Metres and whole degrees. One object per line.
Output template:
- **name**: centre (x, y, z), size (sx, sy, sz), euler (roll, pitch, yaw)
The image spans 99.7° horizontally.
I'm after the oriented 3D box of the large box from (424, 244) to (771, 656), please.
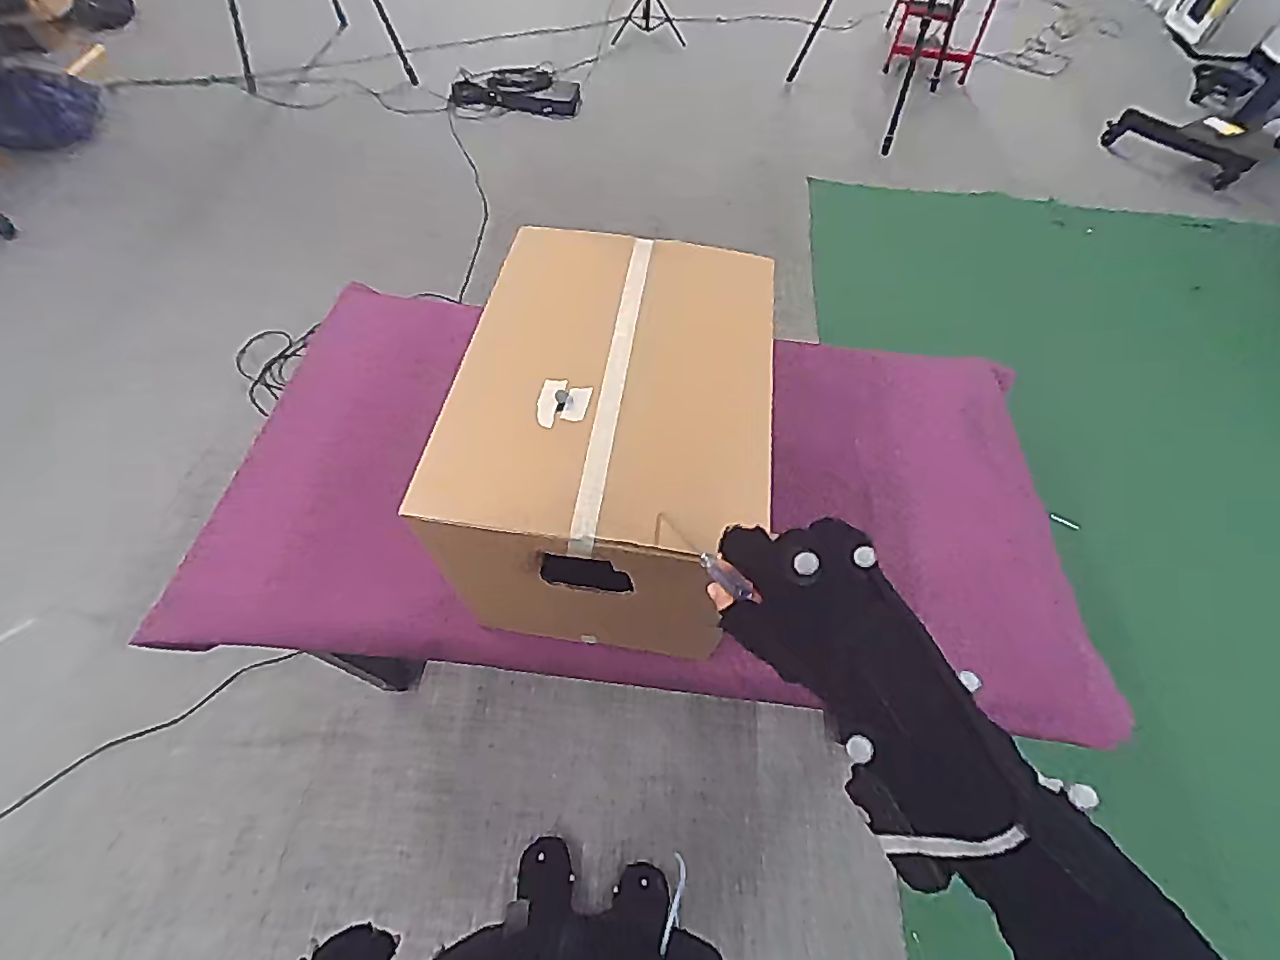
- **large box**: centre (-0.026, -0.029, 0.698), size (0.320, 0.320, 0.408), euler (9, 59, 2)
